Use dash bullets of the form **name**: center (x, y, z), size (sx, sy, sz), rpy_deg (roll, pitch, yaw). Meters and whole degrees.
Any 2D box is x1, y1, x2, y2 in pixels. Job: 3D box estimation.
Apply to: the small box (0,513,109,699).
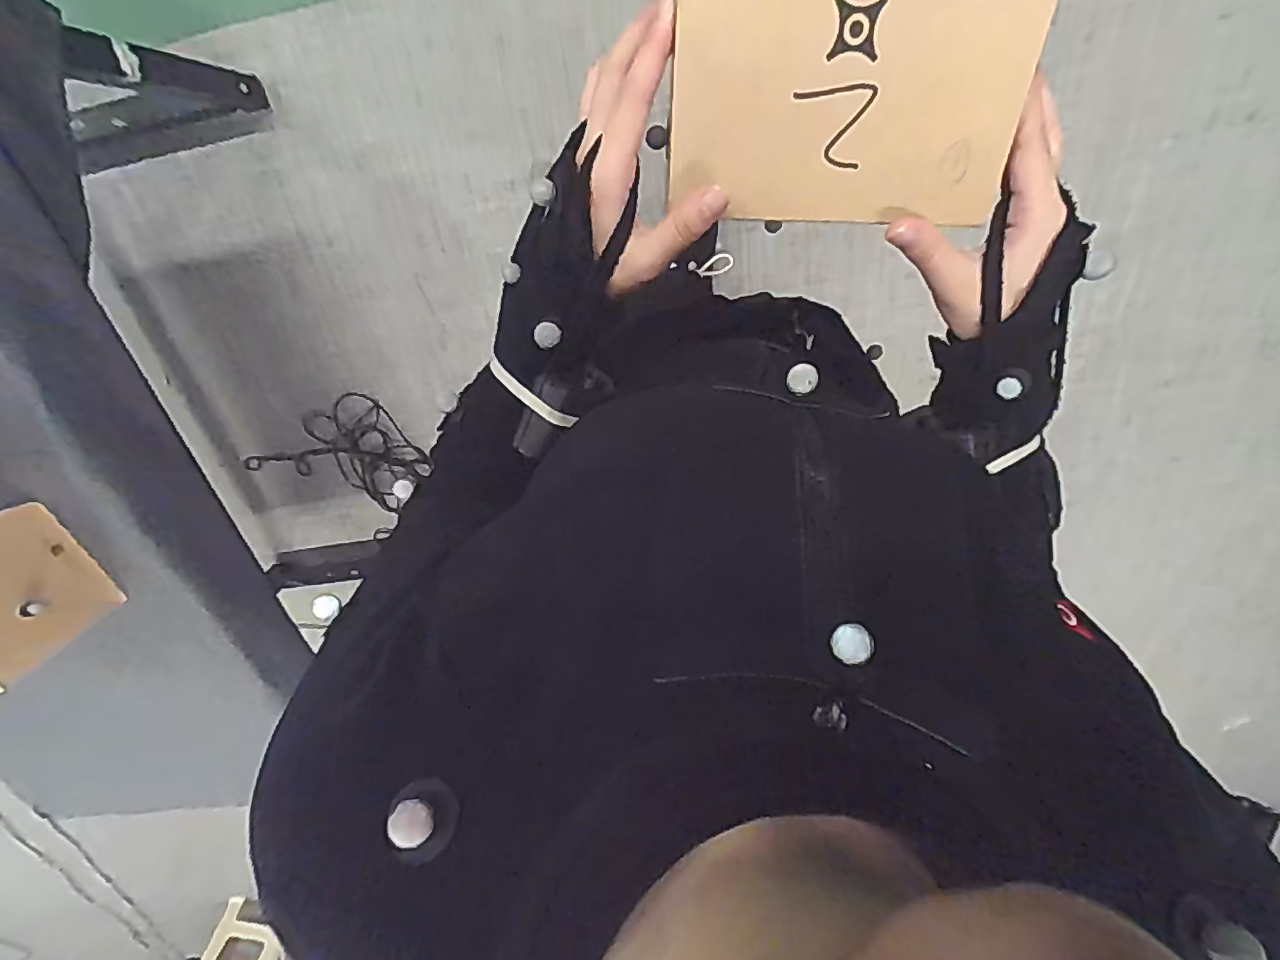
- **small box**: center (-0.823, 0.159, 0.661), size (0.179, 0.176, 0.168), rpy_deg (-13, 117, 10)
